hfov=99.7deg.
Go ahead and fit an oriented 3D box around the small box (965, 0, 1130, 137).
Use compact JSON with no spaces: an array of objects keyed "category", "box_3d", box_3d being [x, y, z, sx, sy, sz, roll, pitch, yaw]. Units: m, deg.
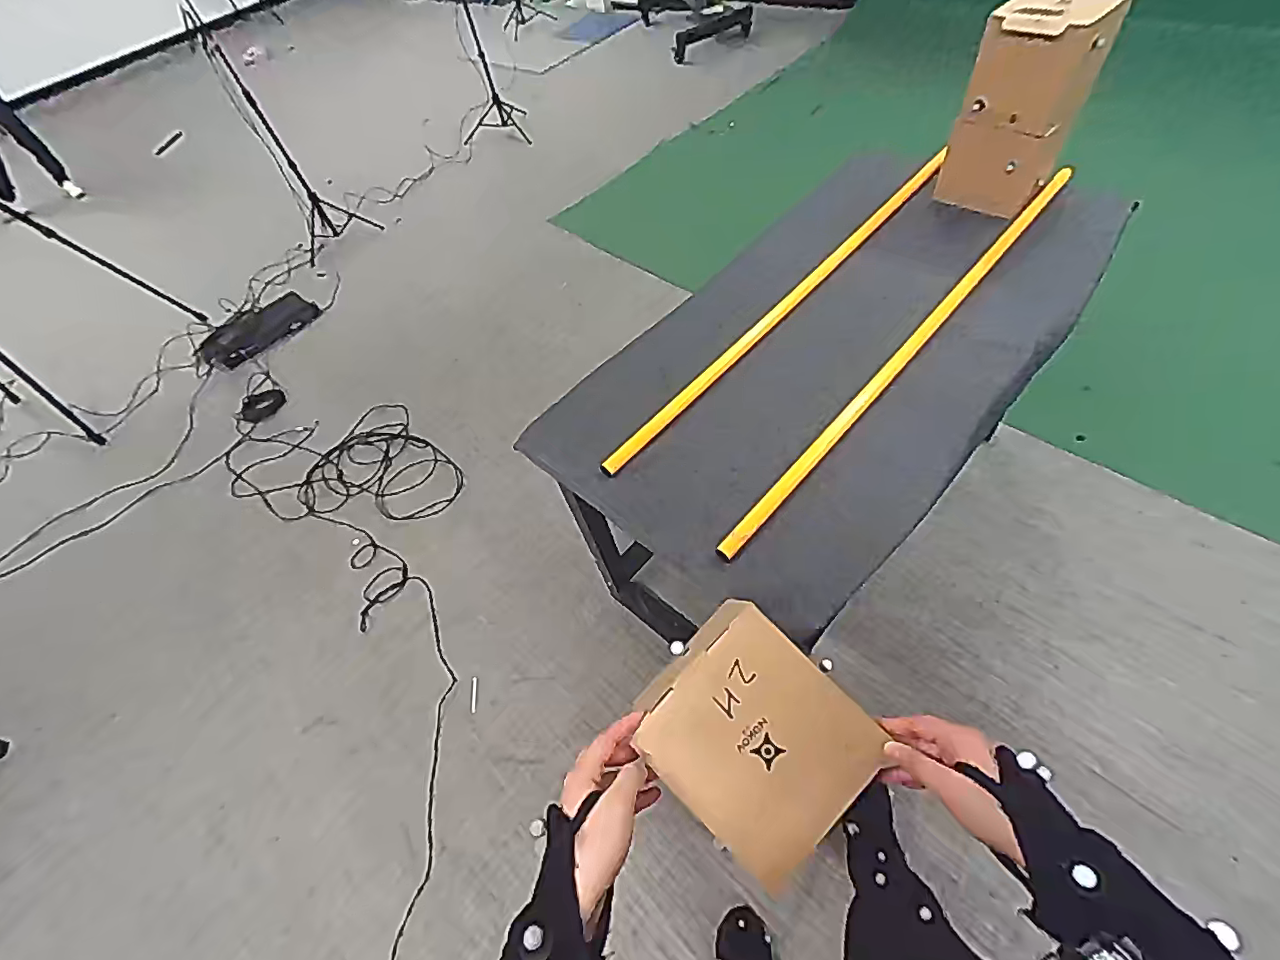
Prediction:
[{"category":"small box","box_3d":[0.748,-0.779,1.015,0.179,0.176,0.168,-40,58,-17]}]
